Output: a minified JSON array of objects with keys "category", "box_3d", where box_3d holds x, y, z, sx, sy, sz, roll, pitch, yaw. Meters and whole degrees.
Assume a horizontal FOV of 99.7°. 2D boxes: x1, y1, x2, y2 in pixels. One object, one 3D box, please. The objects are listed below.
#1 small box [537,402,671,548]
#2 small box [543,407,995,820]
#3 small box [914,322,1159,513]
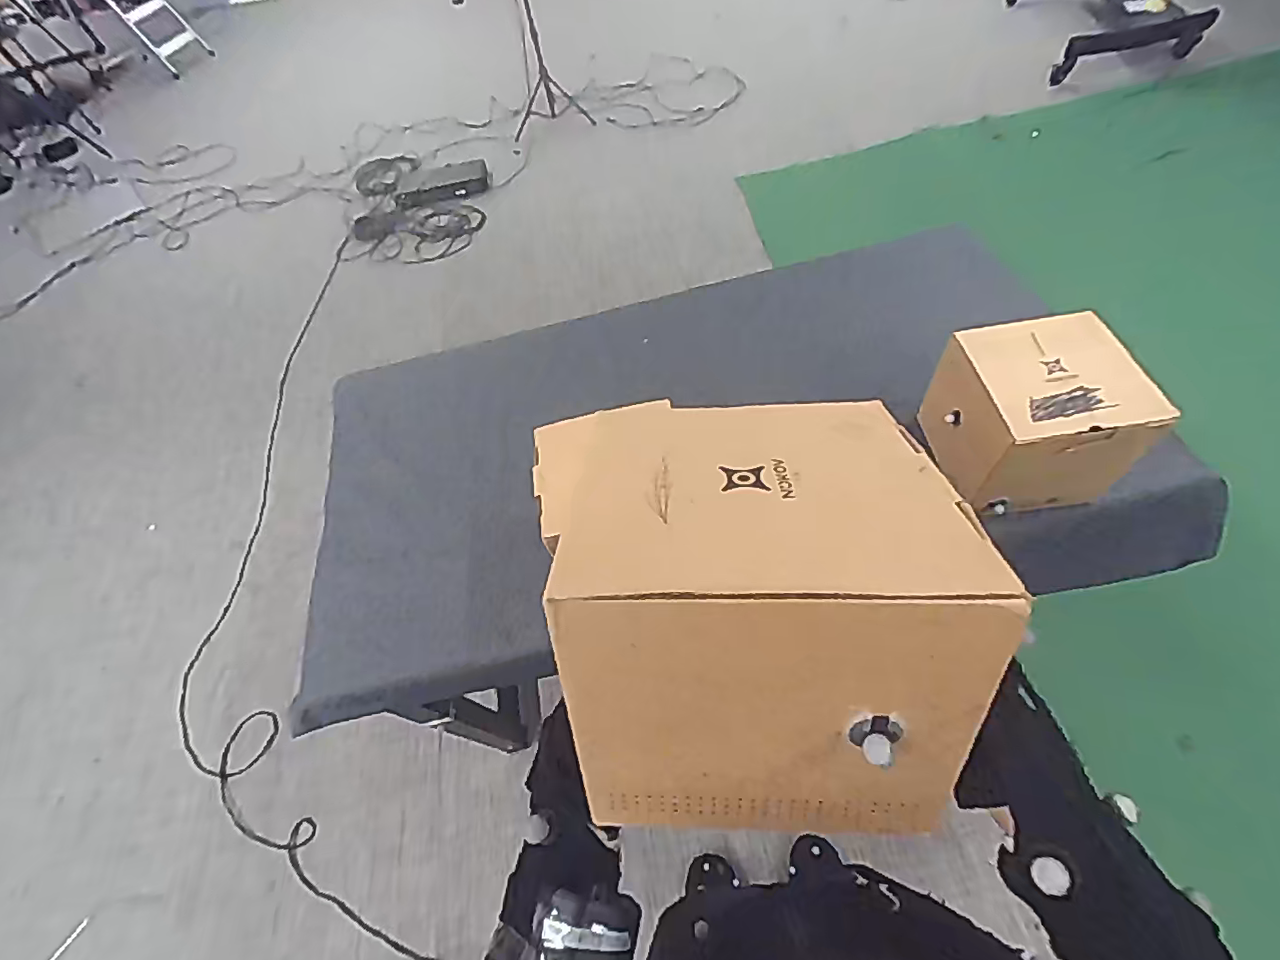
[{"category":"small box","box_3d":[-0.025,0.029,0.708,0.179,0.176,0.168,-12,55,1]},{"category":"small box","box_3d":[0.057,0.070,0.315,0.179,0.176,0.168,-2,31,4]},{"category":"small box","box_3d":[0.480,-0.070,0.692,0.168,0.176,0.179,-7,55,5]}]
